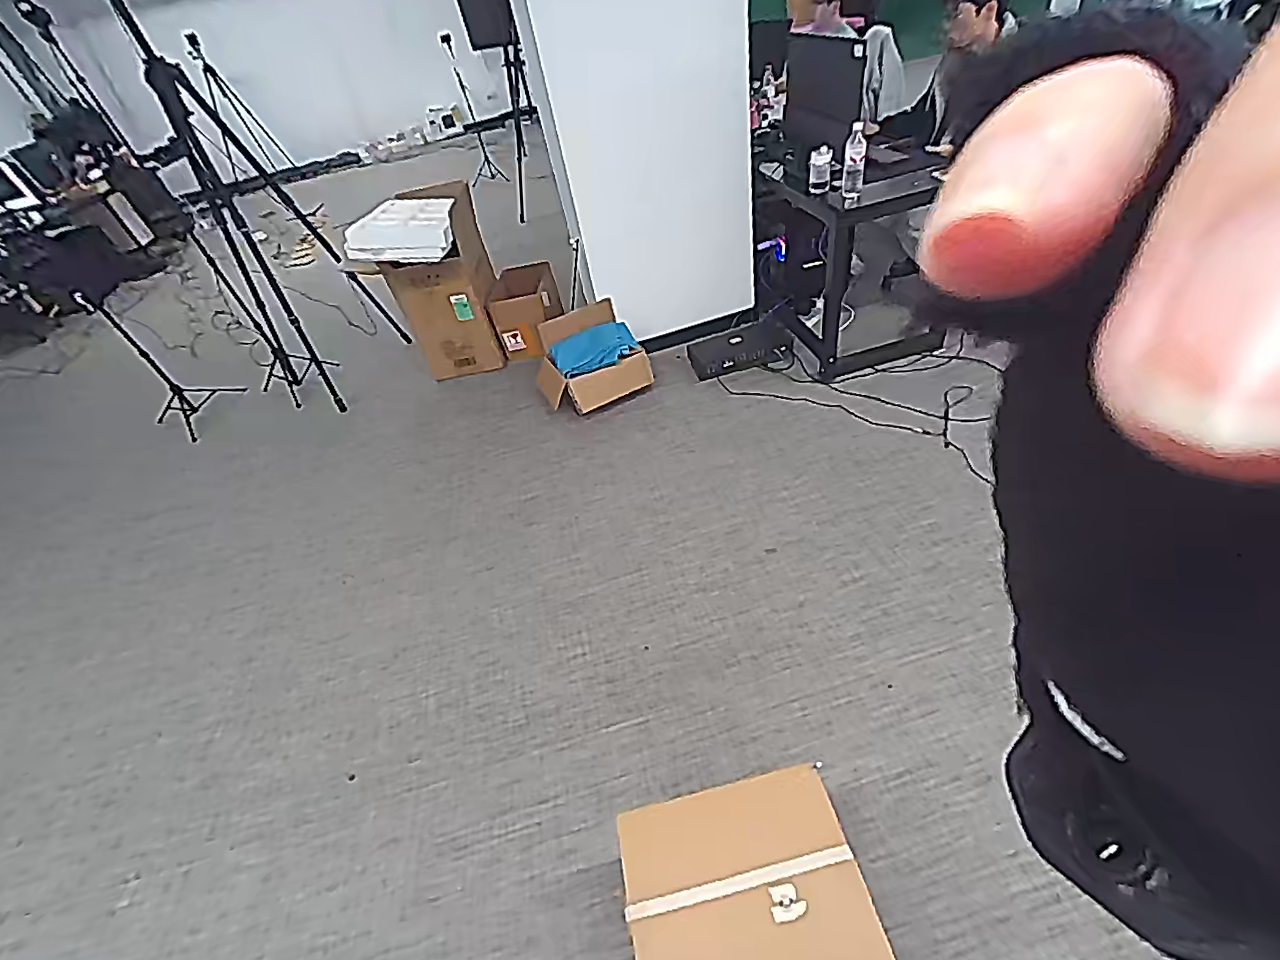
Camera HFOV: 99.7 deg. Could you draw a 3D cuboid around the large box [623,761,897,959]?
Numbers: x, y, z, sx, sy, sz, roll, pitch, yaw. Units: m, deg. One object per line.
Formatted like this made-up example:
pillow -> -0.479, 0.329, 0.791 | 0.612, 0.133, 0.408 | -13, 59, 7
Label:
large box -> 0.209, 0.811, 1.048 | 0.408, 0.320, 0.320 | -14, 43, -2
